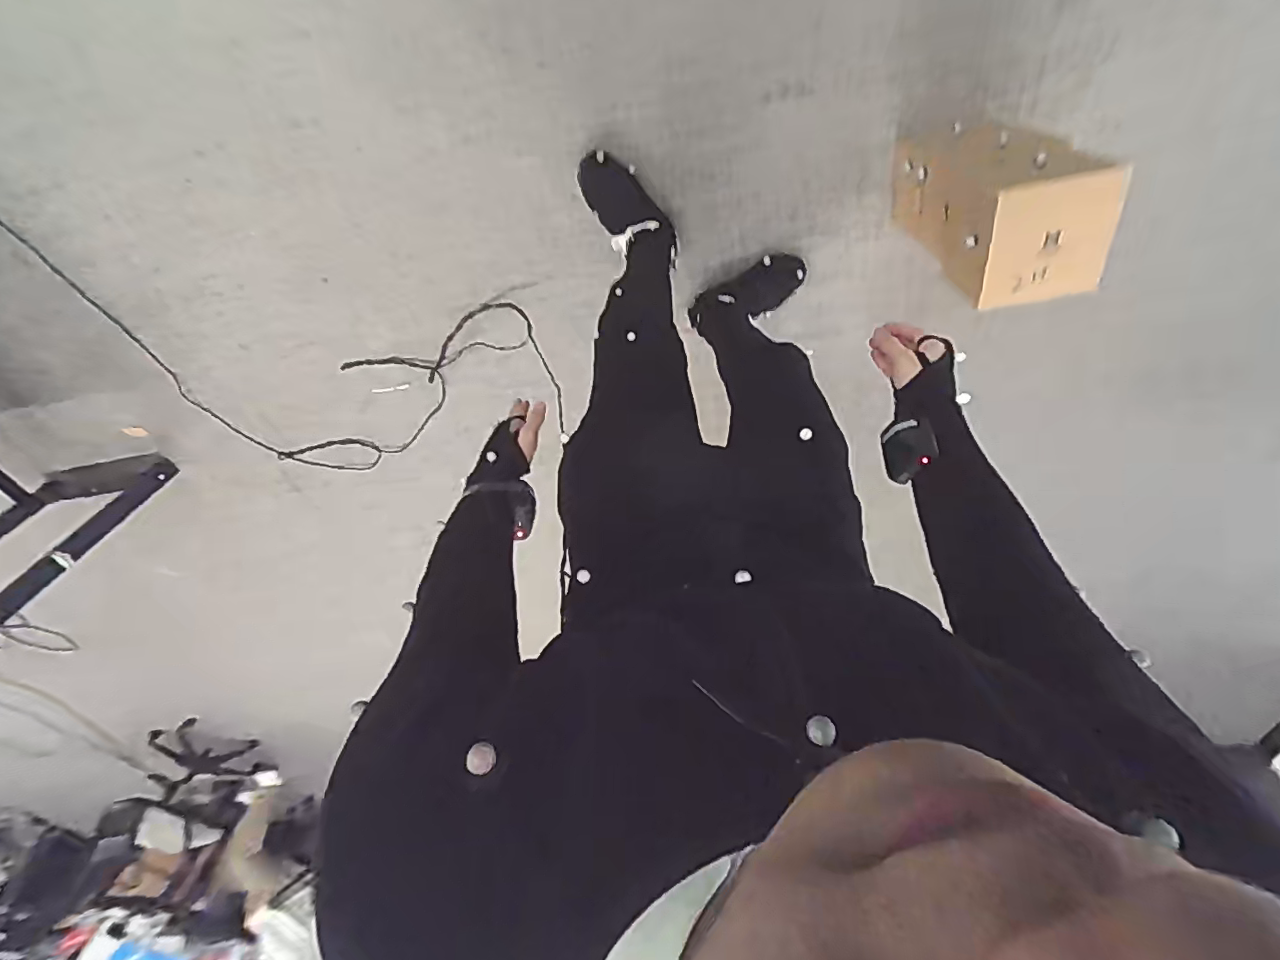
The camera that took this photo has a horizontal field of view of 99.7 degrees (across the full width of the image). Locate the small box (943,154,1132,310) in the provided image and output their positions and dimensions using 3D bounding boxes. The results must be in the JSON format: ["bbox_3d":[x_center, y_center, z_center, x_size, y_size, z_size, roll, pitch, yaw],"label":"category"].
[{"bbox_3d":[0.597,-0.391,0.842,0.168,0.176,0.179,-7,128,11],"label":"small box"}]

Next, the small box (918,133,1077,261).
[{"bbox_3d":[0.618,-0.499,0.965,0.179,0.176,0.168,-8,128,10],"label":"small box"}]
